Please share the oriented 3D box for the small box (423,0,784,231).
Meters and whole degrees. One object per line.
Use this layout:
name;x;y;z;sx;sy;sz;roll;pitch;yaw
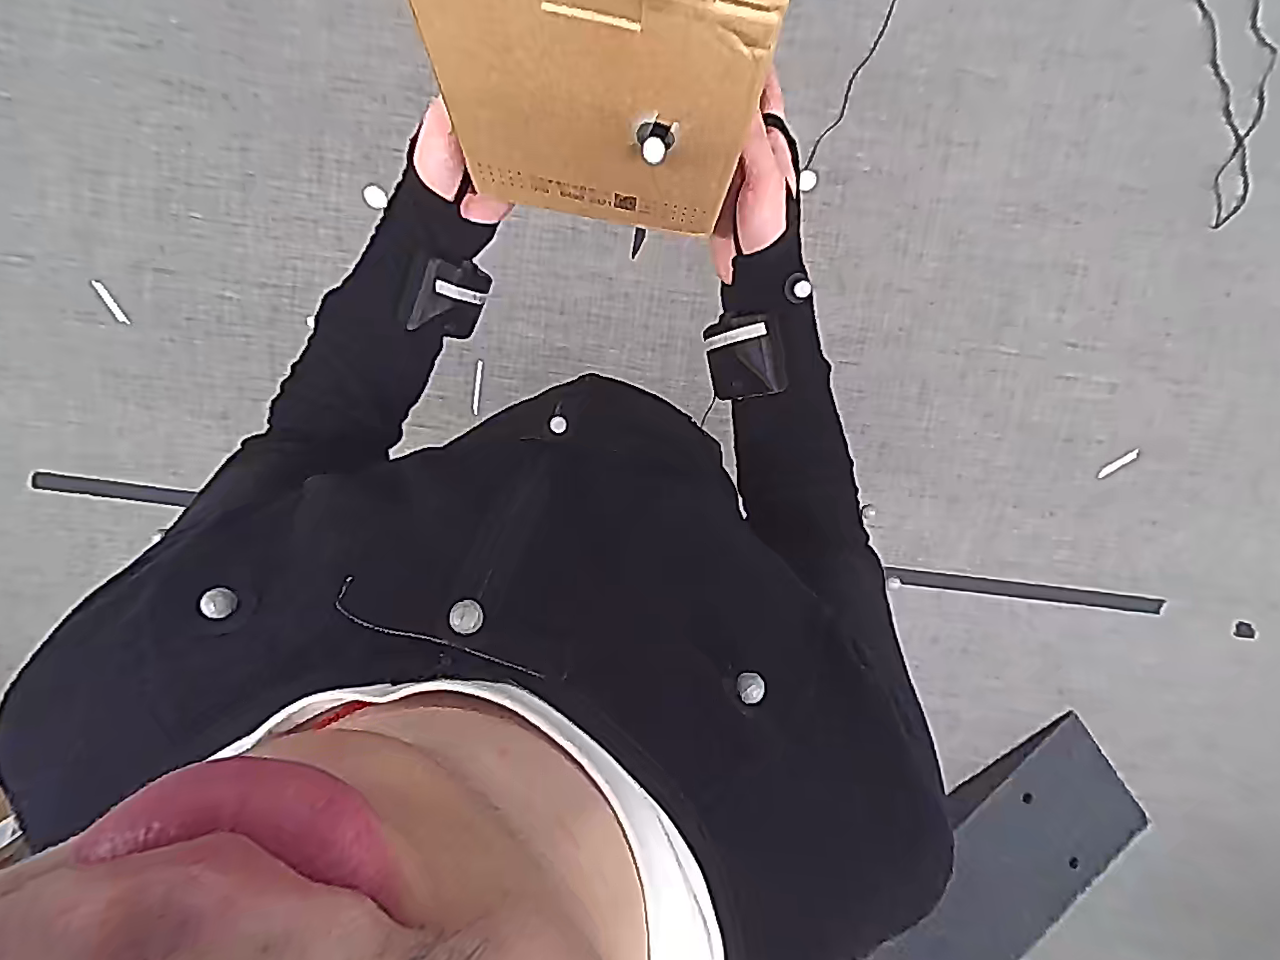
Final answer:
small box;-0.010;-0.282;0.319;0.168;0.176;0.179;11;80;-4
